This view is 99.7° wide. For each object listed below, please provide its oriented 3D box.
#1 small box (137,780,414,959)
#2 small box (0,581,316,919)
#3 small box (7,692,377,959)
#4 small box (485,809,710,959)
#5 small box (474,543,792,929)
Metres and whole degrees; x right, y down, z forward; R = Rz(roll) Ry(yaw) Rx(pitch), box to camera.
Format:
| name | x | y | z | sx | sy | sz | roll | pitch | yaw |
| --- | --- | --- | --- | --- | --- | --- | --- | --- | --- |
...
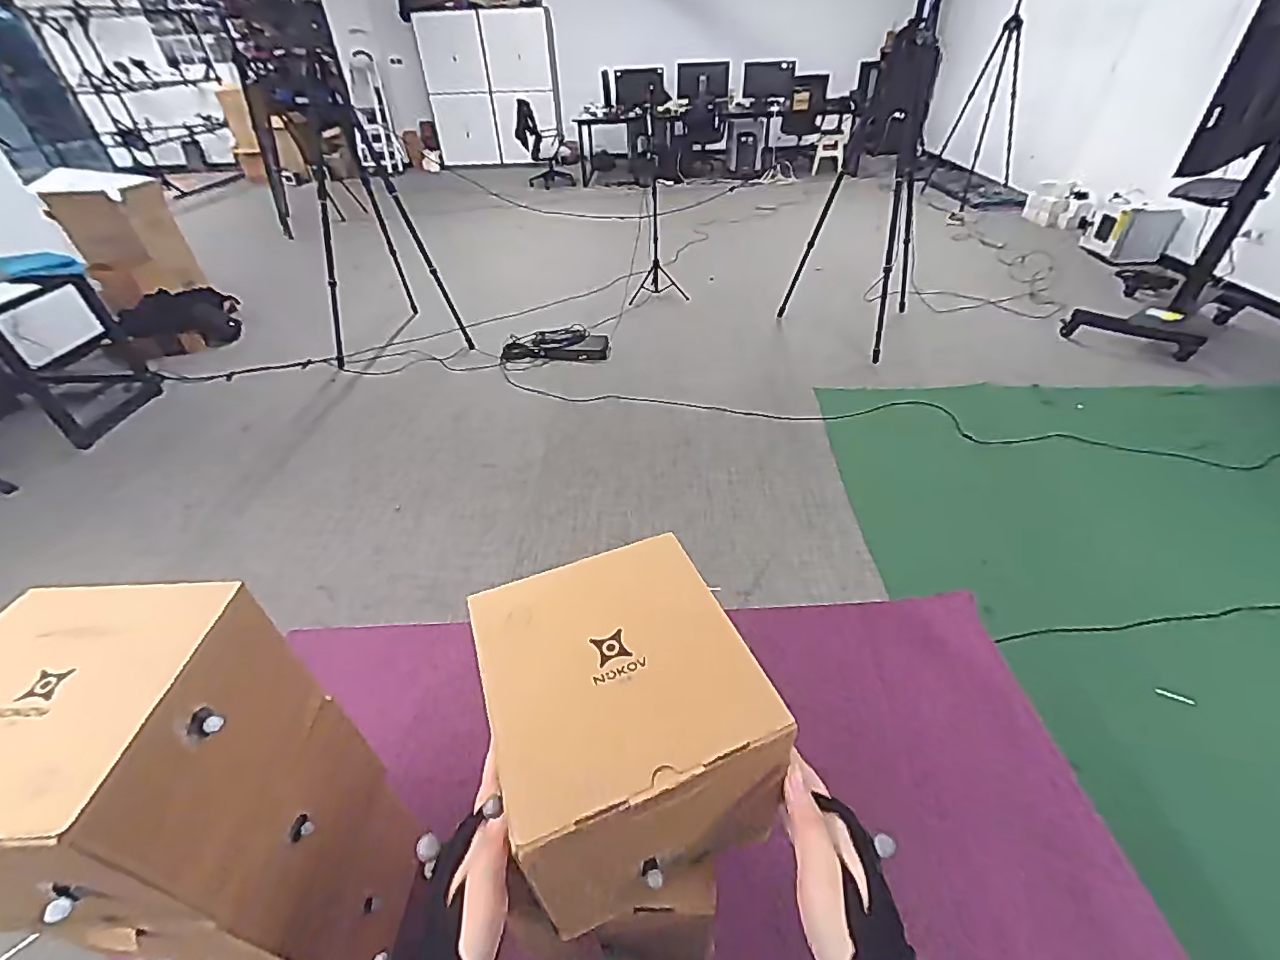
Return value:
| name | x | y | z | sx | sy | sz | roll | pitch | yaw |
| --- | --- | --- | --- | --- | --- | --- | --- | --- | --- |
| small box | -0.374 | 0.451 | 0.599 | 0.168 | 0.176 | 0.179 | 1 | 40 | 2 |
| small box | -0.377 | 0.195 | 0.395 | 0.168 | 0.176 | 0.179 | 0 | 39 | 0 |
| small box | -0.374 | 0.318 | 0.501 | 0.168 | 0.176 | 0.179 | 1 | 38 | 3 |
| small box | -0.025 | 0.312 | 0.496 | 0.168 | 0.176 | 0.179 | 1 | 39 | 4 |
| small box | -0.016 | 0.180 | 0.400 | 0.168 | 0.176 | 0.179 | -14 | 41 | -15 |
